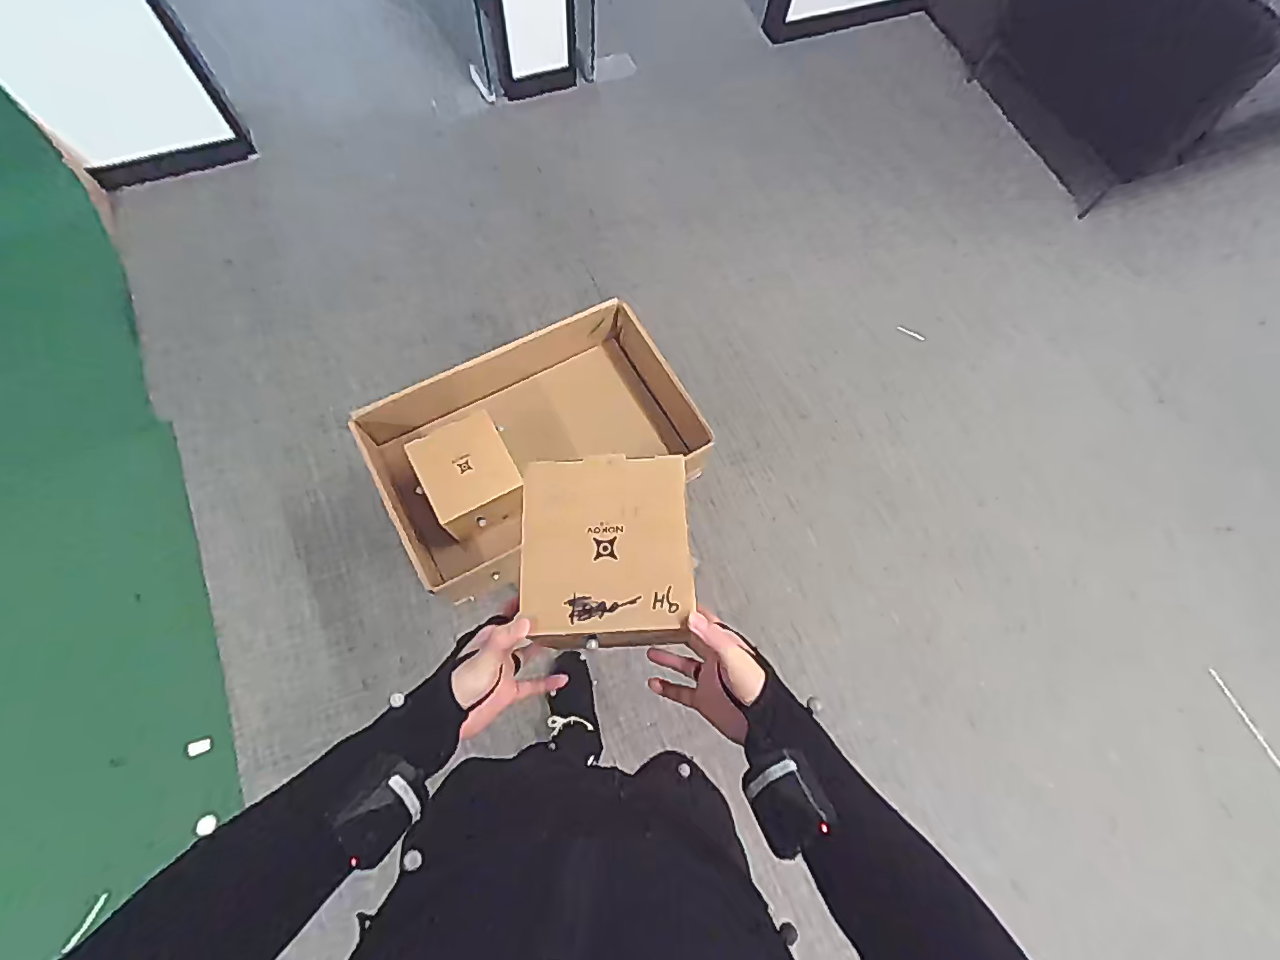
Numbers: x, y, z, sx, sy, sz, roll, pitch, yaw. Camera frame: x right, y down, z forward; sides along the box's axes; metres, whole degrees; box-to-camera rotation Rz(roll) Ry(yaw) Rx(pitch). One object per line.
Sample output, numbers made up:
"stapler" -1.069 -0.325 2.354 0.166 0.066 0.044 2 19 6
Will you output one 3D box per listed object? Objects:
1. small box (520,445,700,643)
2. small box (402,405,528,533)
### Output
"small box" -0.028 0.077 0.589 0.168 0.176 0.179 -2 68 1
"small box" -0.327 -0.010 1.054 0.168 0.176 0.179 -27 75 -13
